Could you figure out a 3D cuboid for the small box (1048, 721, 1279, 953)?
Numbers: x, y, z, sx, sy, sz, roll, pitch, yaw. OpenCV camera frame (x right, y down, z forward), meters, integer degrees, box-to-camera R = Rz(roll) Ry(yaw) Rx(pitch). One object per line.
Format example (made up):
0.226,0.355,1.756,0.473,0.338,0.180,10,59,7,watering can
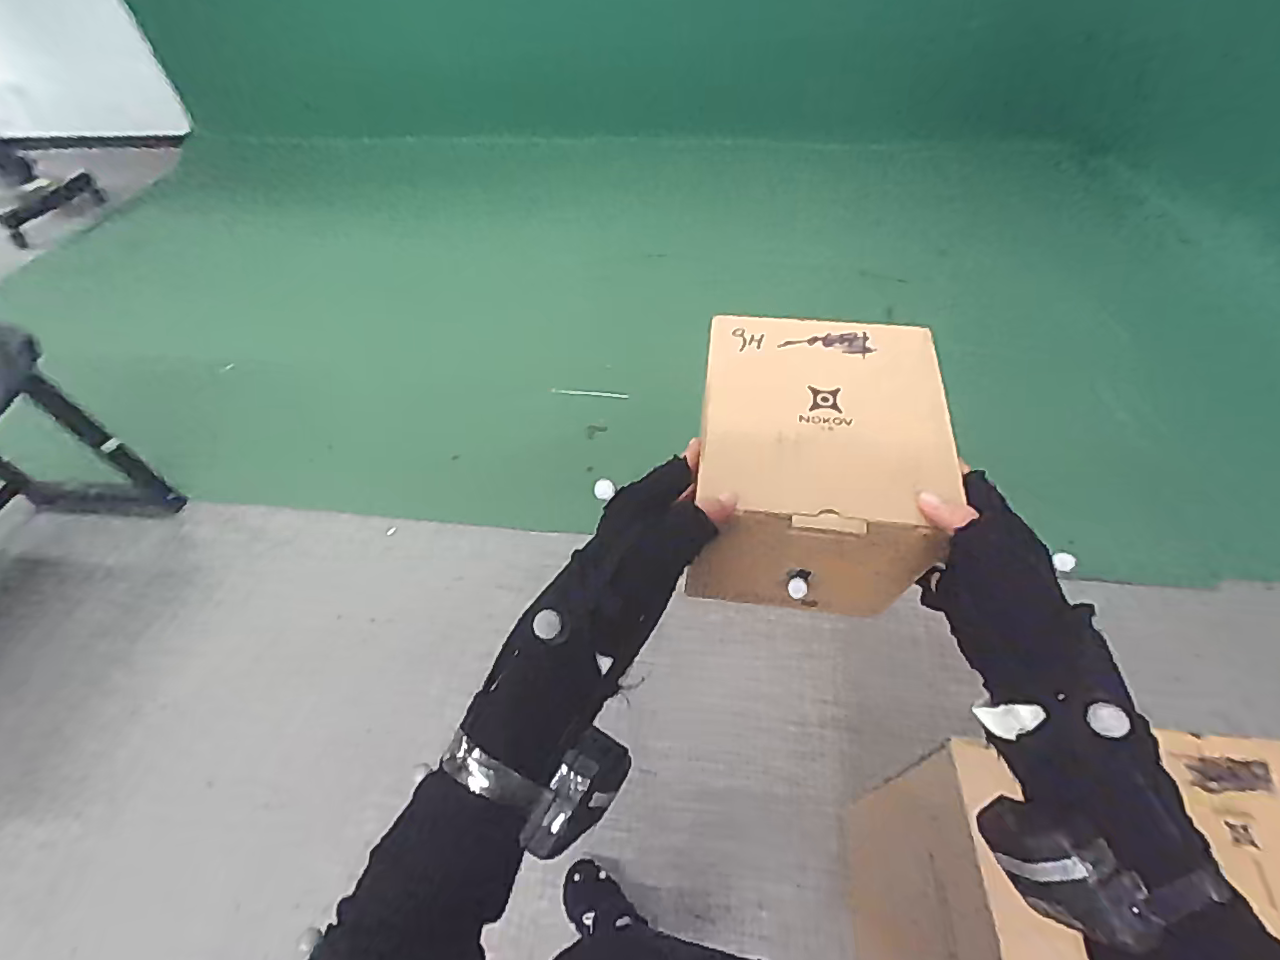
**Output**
0.590,0.387,0.588,0.168,0.176,0.179,3,52,10,small box
